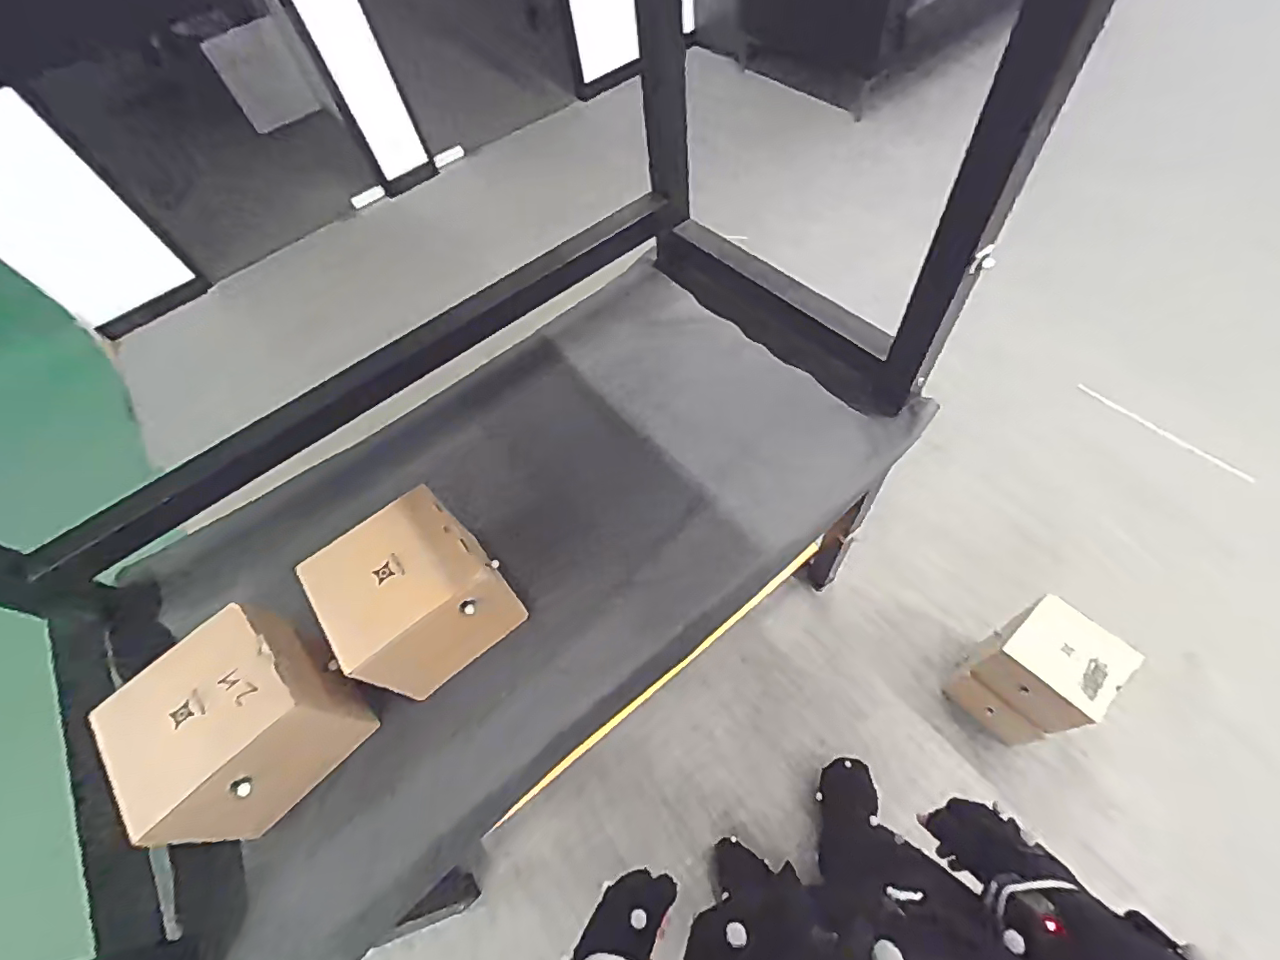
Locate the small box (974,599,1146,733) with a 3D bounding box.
[{"bbox_3d":[0.807,0.369,1.058,0.168,0.176,0.179,-39,60,-15],"label":"small box"}]
